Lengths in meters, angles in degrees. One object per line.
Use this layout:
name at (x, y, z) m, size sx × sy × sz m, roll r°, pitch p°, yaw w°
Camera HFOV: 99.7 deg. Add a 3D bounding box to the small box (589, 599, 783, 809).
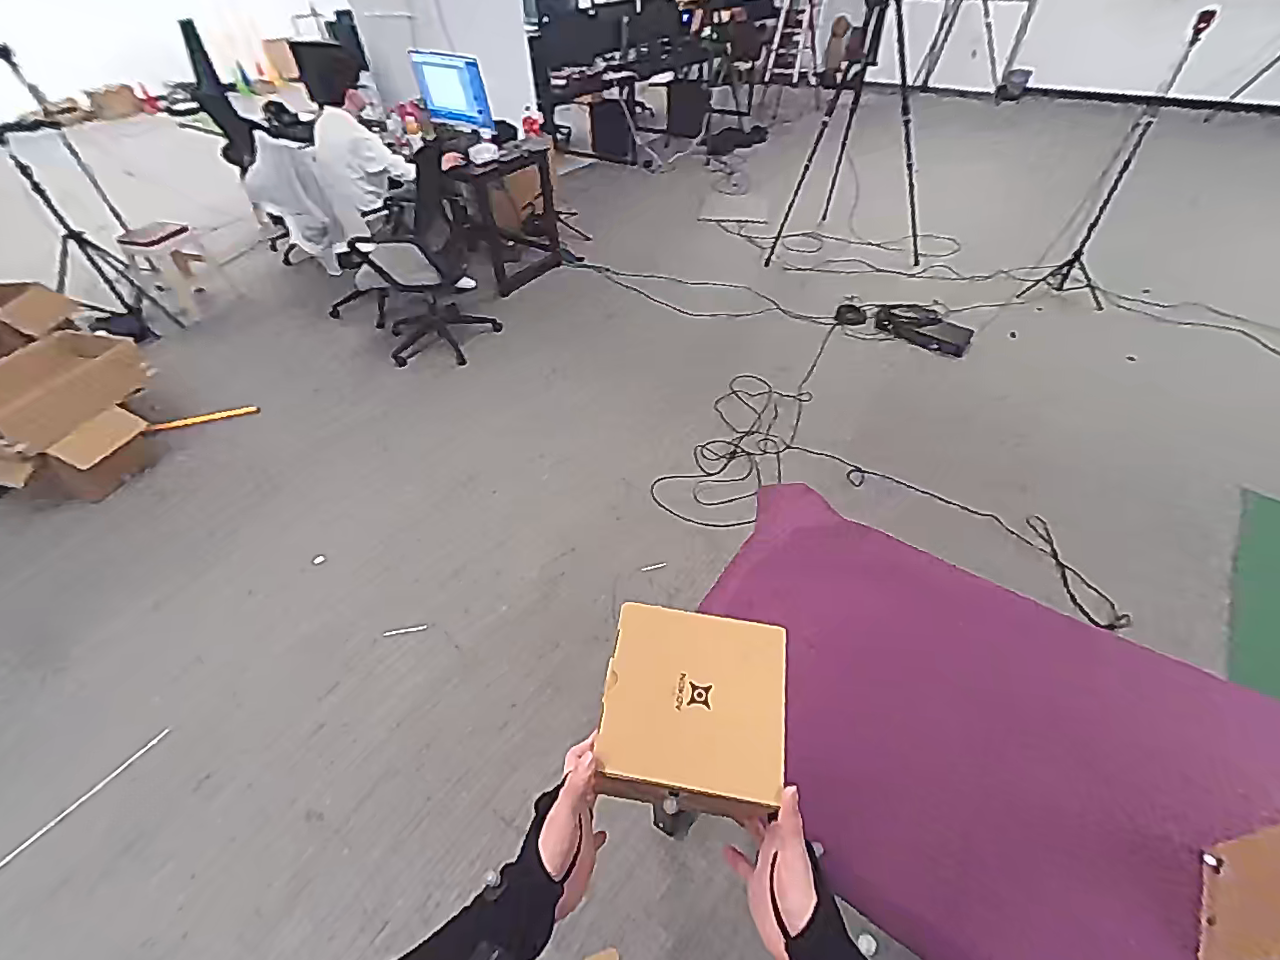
small box at (0.050, 0.250, 0.592) m, size 0.179 × 0.176 × 0.168 m, roll 8°, pitch 55°, yaw 5°
